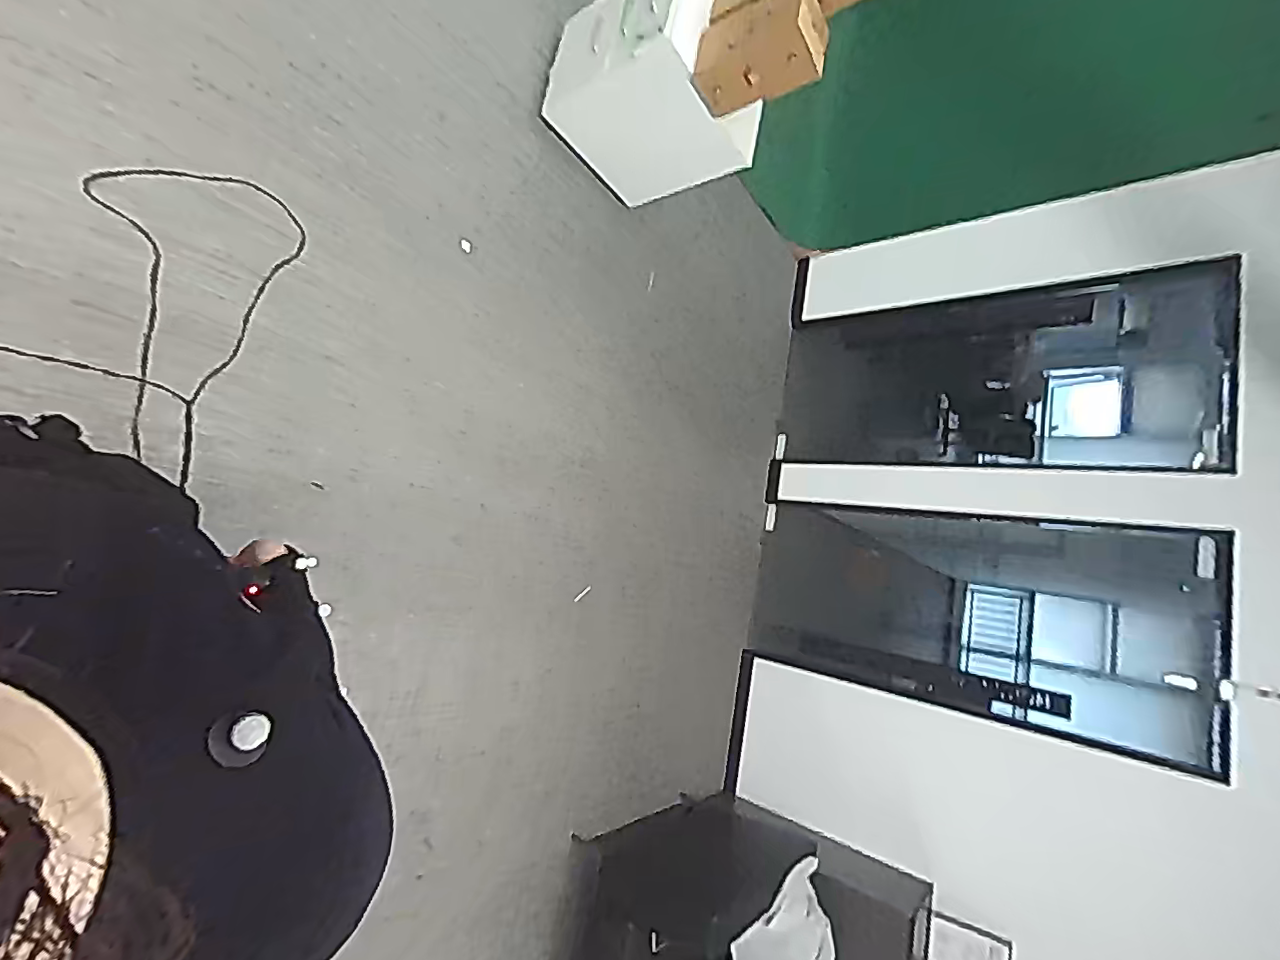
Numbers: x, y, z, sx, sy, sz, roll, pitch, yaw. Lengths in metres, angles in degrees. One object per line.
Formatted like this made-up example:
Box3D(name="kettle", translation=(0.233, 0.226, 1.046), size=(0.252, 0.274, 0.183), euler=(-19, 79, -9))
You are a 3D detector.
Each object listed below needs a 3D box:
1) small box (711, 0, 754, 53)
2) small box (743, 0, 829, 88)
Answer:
Box3D(name="small box", translation=(0.337, -1.481, 1.663), size=(0.168, 0.176, 0.179), euler=(22, 78, -50))
Box3D(name="small box", translation=(0.407, -1.251, 1.509), size=(0.179, 0.176, 0.168), euler=(25, 74, -50))
